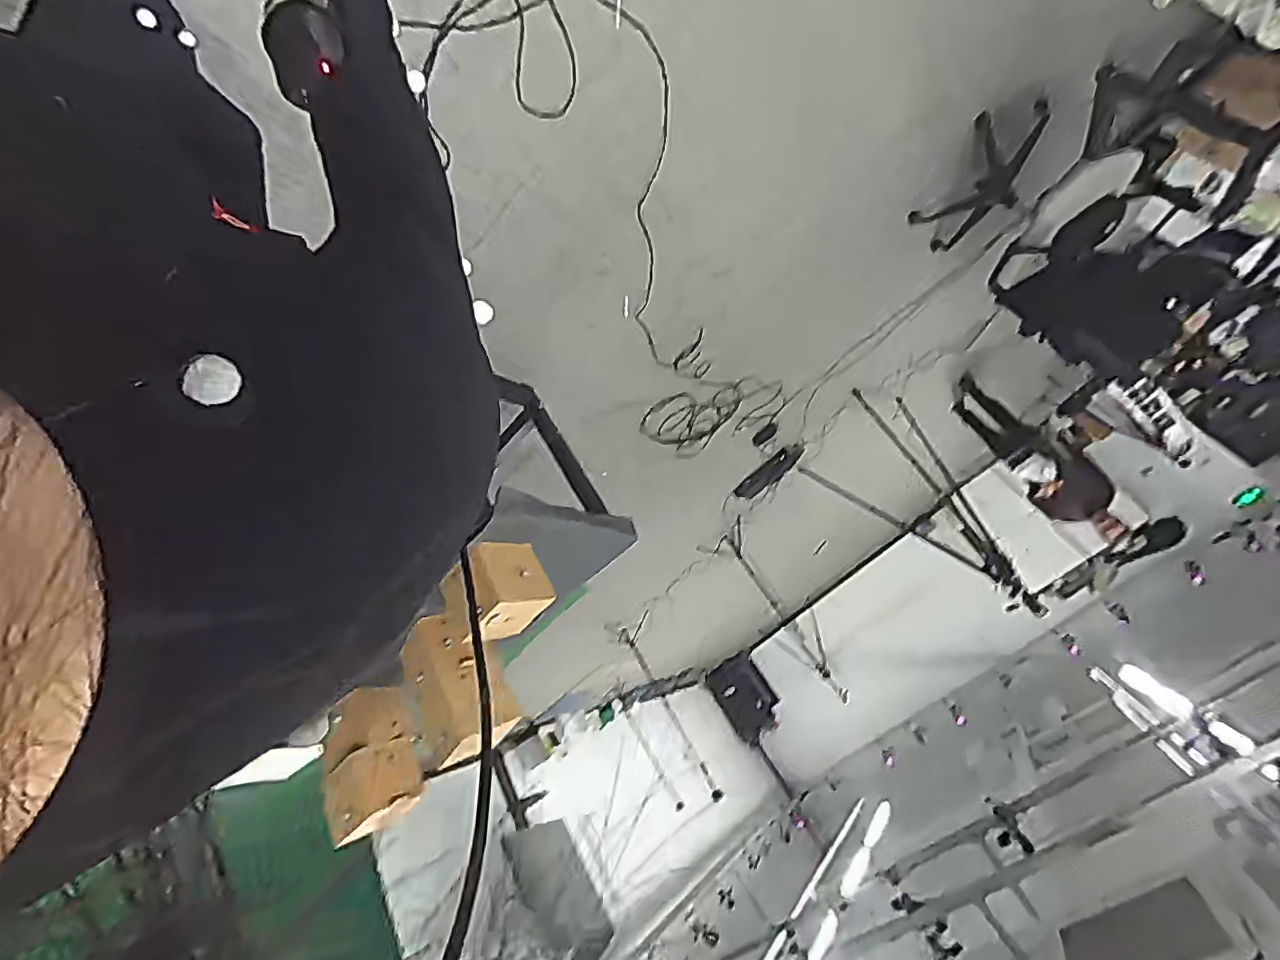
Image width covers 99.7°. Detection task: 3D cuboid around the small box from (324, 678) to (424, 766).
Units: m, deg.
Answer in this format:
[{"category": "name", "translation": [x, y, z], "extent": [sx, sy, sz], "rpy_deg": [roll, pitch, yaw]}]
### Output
[{"category": "small box", "translation": [-0.767, 0.690, 1.561], "extent": [0.168, 0.176, 0.179], "rpy_deg": [-37, 153, 4]}]

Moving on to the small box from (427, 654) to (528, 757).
[{"category": "small box", "translation": [-0.423, 0.565, 1.386], "extent": [0.168, 0.176, 0.179], "rpy_deg": [0, 138, -47]}]

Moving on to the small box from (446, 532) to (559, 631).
[{"category": "small box", "translation": [-0.335, 0.240, 1.315], "extent": [0.168, 0.176, 0.179], "rpy_deg": [-47, 150, 23]}]

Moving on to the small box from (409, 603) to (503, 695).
[{"category": "small box", "translation": [-0.504, 0.445, 1.464], "extent": [0.168, 0.176, 0.179], "rpy_deg": [-3, 140, -45]}]

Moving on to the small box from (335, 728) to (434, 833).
[{"category": "small box", "translation": [-0.700, 0.807, 1.467], "extent": [0.179, 0.176, 0.168], "rpy_deg": [-46, 151, 19]}]
